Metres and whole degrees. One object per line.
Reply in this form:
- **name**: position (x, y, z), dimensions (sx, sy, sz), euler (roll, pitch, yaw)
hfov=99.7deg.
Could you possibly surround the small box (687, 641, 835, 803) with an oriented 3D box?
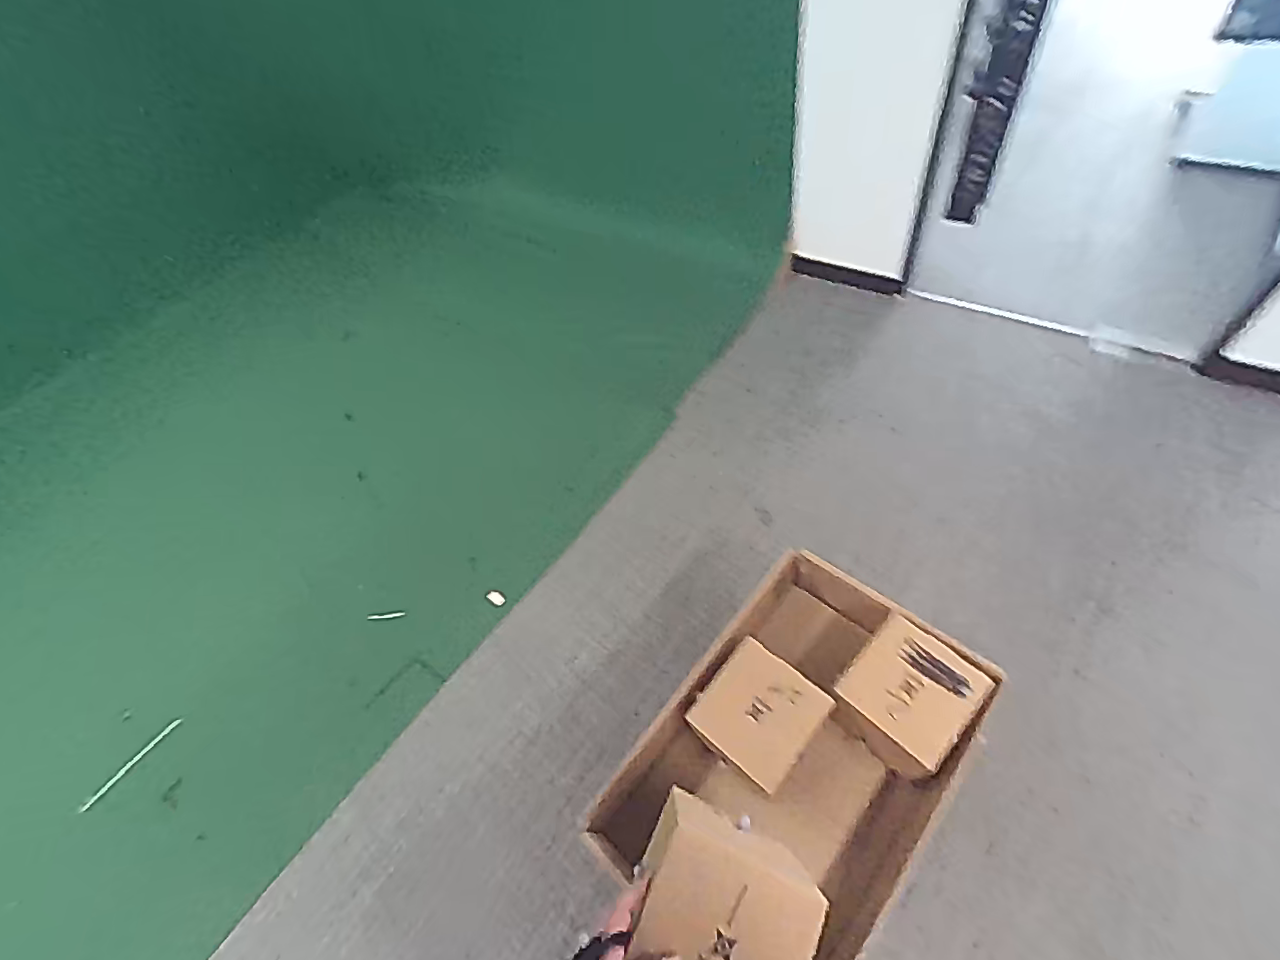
- **small box**: position (0.203, 0.412, 0.912), dimensions (0.168, 0.176, 0.179), euler (35, 69, 29)

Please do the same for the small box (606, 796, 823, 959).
- **small box**: position (0.070, 0.484, 0.587), dimensions (0.168, 0.176, 0.179), euler (25, 73, 8)
